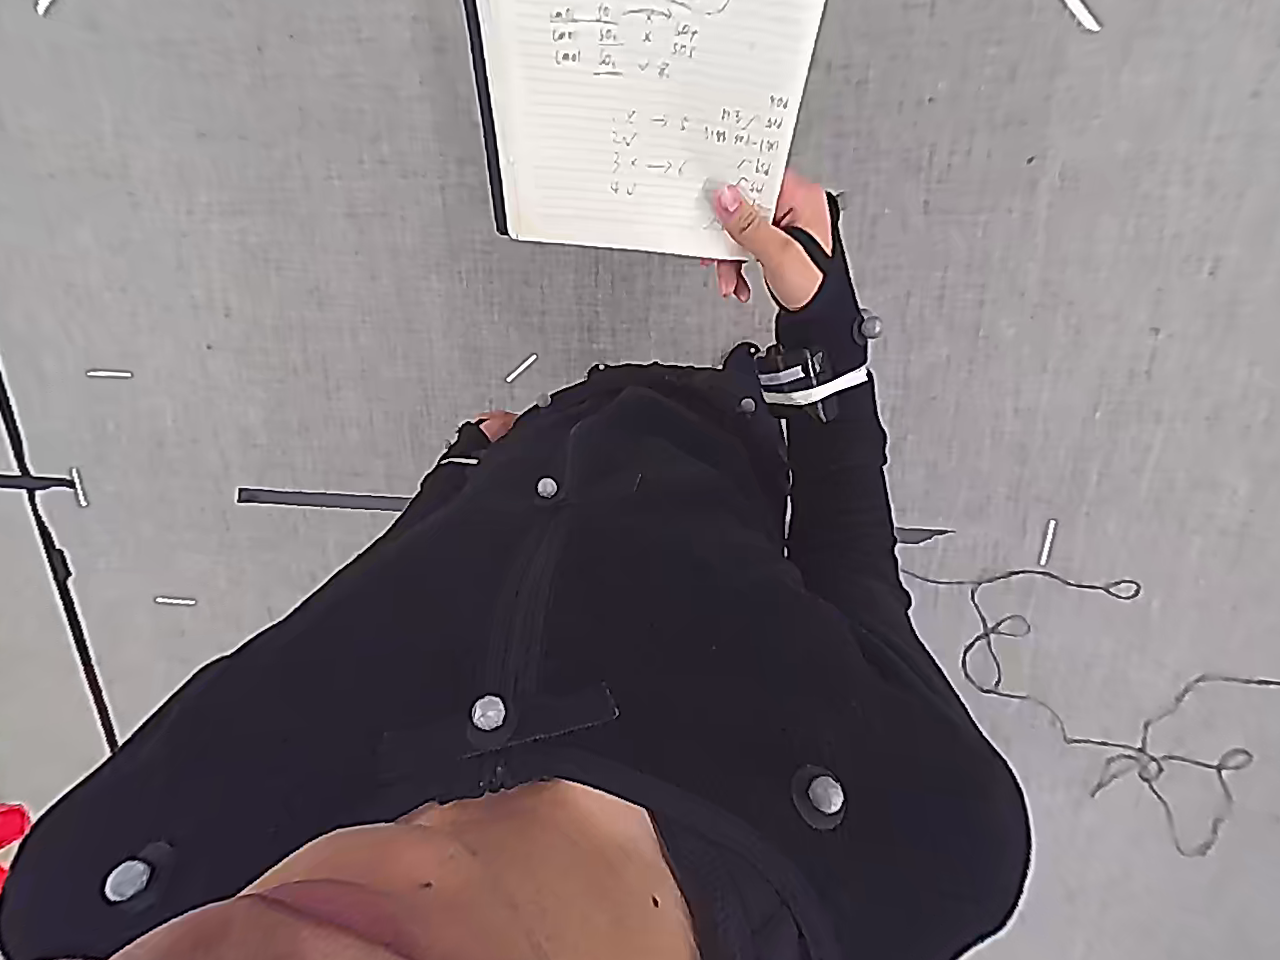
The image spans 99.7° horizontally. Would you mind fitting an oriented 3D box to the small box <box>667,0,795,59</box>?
[{"bbox_3d":[0.118,-0.722,0.735,0.179,0.176,0.168,-9,104,9],"label":"small box"}]
